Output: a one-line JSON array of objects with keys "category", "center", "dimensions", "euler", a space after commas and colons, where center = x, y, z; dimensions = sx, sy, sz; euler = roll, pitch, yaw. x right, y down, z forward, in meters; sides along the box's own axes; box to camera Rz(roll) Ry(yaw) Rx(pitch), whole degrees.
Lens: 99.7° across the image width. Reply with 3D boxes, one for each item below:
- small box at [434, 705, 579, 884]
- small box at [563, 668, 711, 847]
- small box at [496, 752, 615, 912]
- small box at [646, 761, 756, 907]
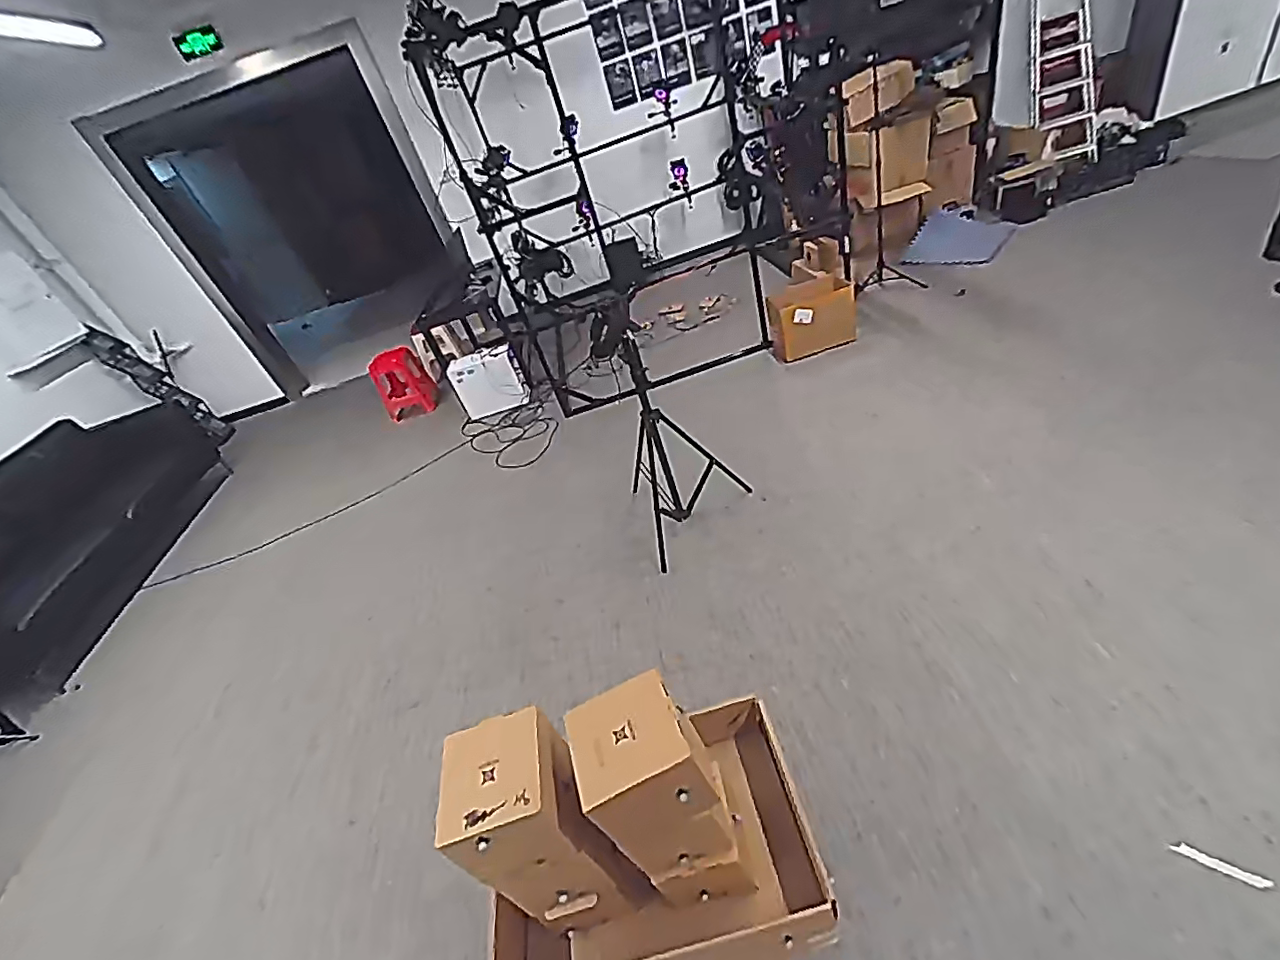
[{"category": "small box", "center": [-0.209, 0.513, 0.884], "dimensions": [0.168, 0.176, 0.179], "euler": [-21, 35, 2]}, {"category": "small box", "center": [0.000, 0.447, 0.873], "dimensions": [0.179, 0.176, 0.168], "euler": [-27, 36, -2]}, {"category": "small box", "center": [-0.156, 0.637, 0.981], "dimensions": [0.168, 0.176, 0.179], "euler": [-20, 36, 1]}, {"category": "small box", "center": [0.113, 0.692, 1.058], "dimensions": [0.168, 0.176, 0.179], "euler": [-20, 36, 6]}]
